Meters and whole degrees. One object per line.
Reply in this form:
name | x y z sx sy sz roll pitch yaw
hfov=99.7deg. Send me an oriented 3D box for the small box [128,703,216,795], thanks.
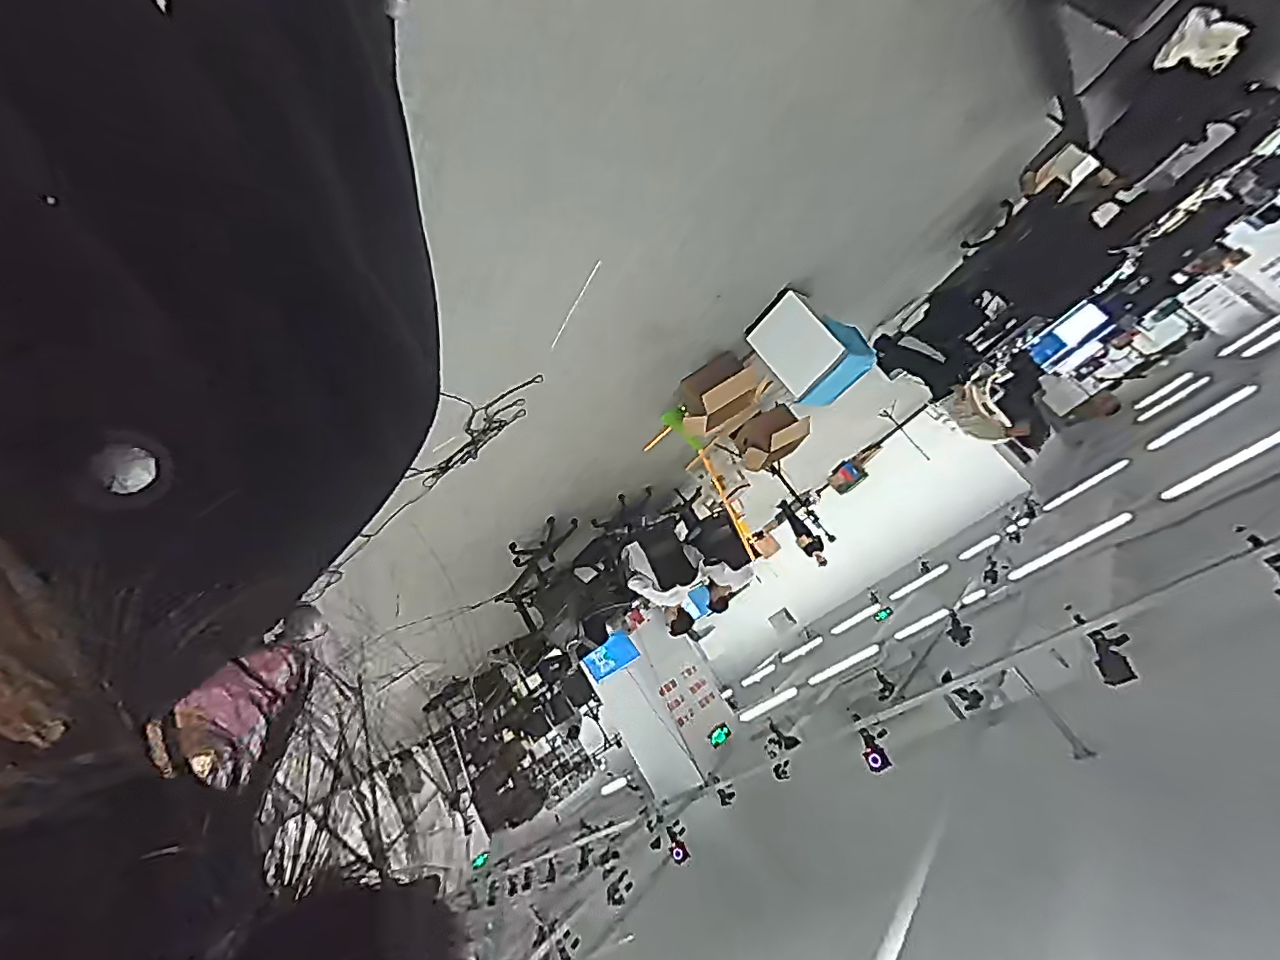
small box | -1.396 0.794 1.611 0.168 0.176 0.179 -13 152 -48
